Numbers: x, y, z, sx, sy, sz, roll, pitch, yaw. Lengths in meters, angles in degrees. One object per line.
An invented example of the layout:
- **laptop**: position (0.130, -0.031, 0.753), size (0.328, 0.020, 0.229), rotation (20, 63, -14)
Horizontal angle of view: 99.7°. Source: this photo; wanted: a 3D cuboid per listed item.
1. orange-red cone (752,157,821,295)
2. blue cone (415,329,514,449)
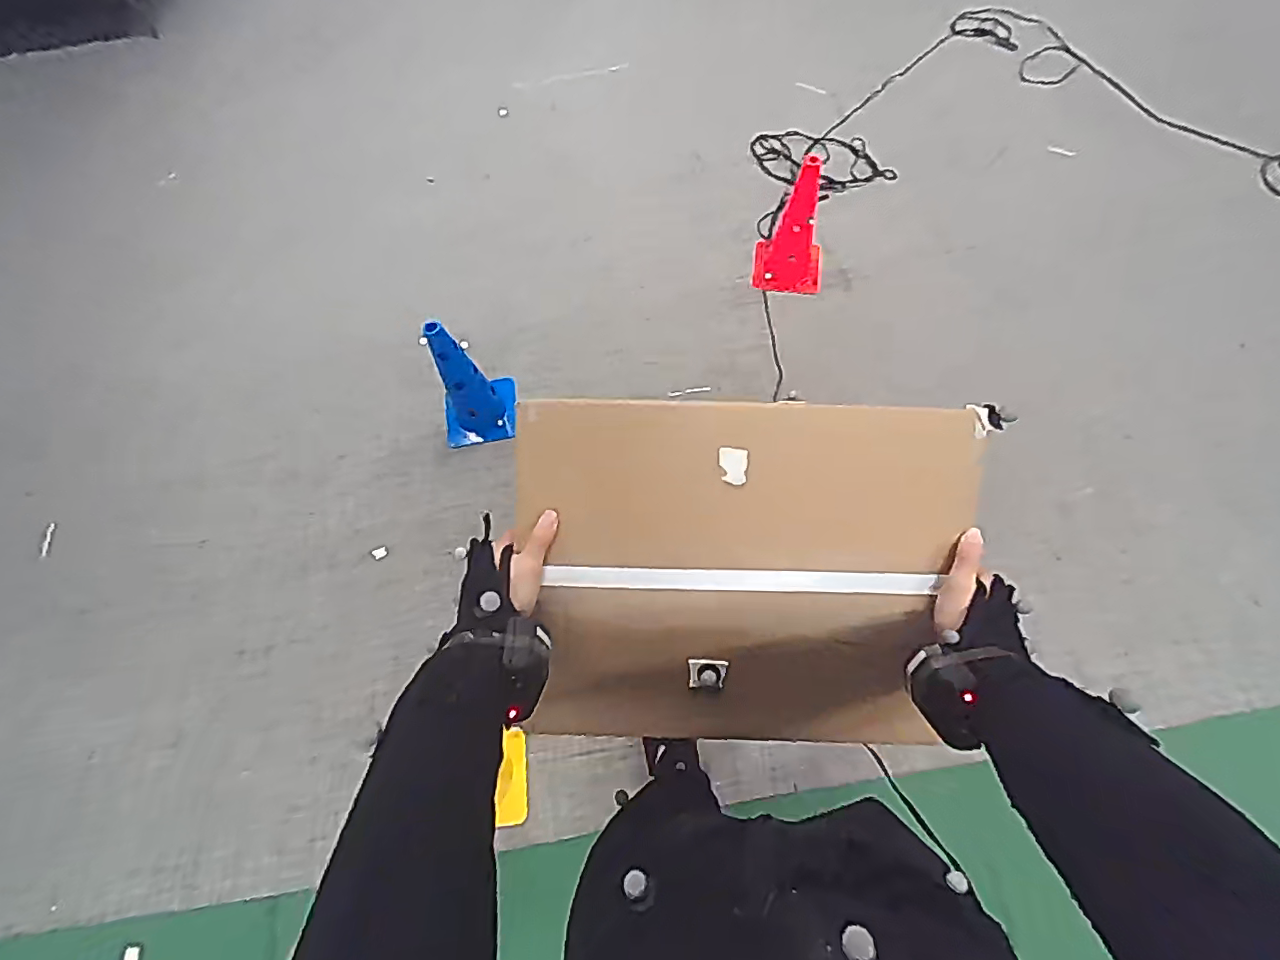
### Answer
- **orange-red cone**: position (0.443, -0.722, 1.505), size (0.199, 0.360, 0.198), rotation (9, 67, 7)
- **blue cone**: position (-0.461, -0.249, 1.372), size (0.192, 0.380, 0.193), rotation (-10, 64, 0)
